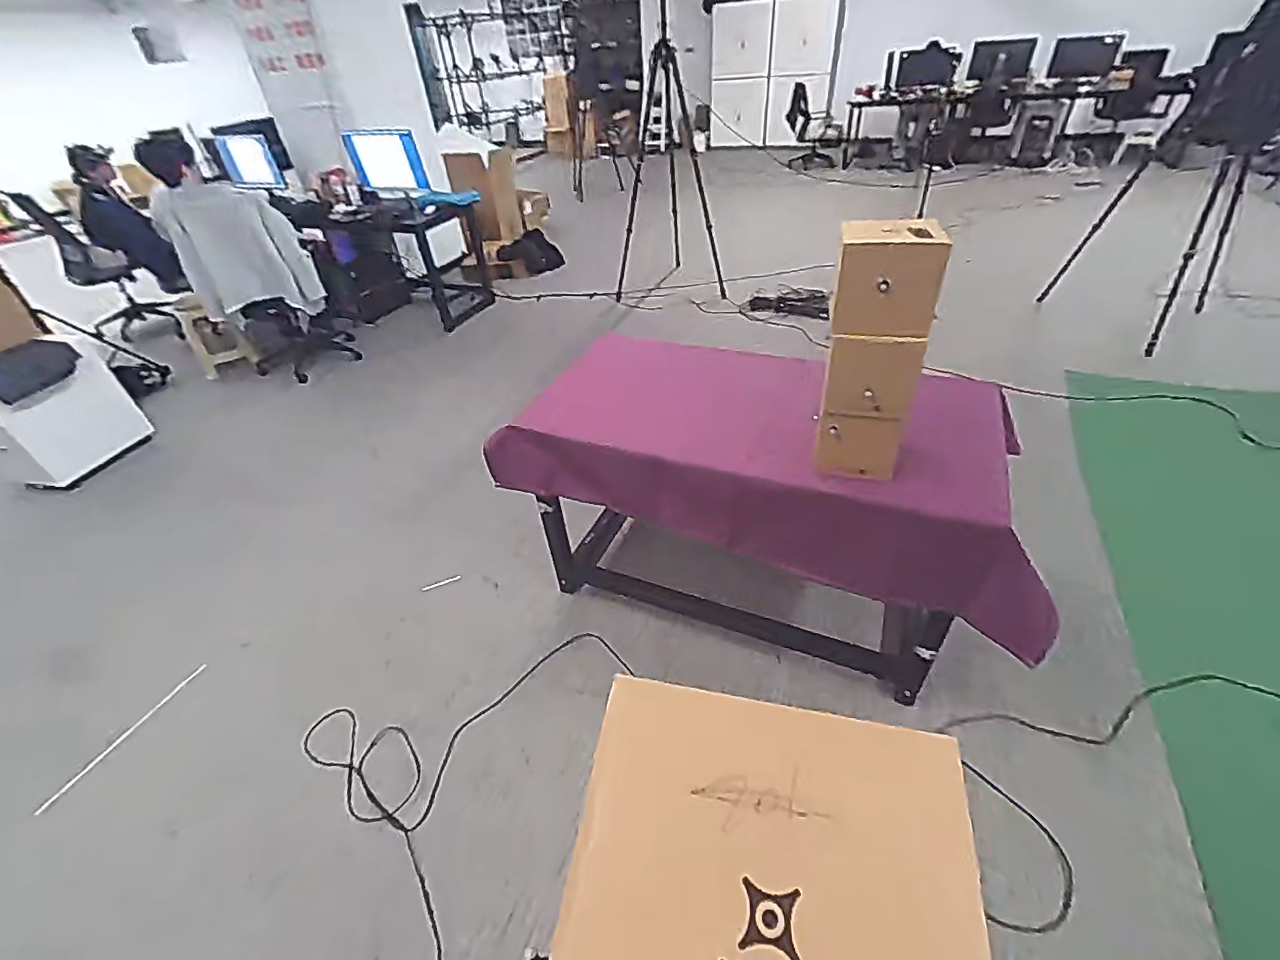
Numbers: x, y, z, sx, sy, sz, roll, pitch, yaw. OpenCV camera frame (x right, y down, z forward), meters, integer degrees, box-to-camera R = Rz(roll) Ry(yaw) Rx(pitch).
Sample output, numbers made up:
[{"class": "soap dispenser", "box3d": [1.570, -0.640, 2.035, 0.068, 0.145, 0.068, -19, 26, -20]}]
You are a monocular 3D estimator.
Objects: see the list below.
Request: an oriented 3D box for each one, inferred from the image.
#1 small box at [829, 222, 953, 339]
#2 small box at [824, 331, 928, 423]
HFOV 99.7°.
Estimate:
[{"class": "small box", "box3d": [0.464, -0.377, 1.023, 0.179, 0.176, 0.168, 6, 39, 15]}, {"class": "small box", "box3d": [0.479, -0.240, 1.113, 0.168, 0.176, 0.179, 8, 40, 17]}]
